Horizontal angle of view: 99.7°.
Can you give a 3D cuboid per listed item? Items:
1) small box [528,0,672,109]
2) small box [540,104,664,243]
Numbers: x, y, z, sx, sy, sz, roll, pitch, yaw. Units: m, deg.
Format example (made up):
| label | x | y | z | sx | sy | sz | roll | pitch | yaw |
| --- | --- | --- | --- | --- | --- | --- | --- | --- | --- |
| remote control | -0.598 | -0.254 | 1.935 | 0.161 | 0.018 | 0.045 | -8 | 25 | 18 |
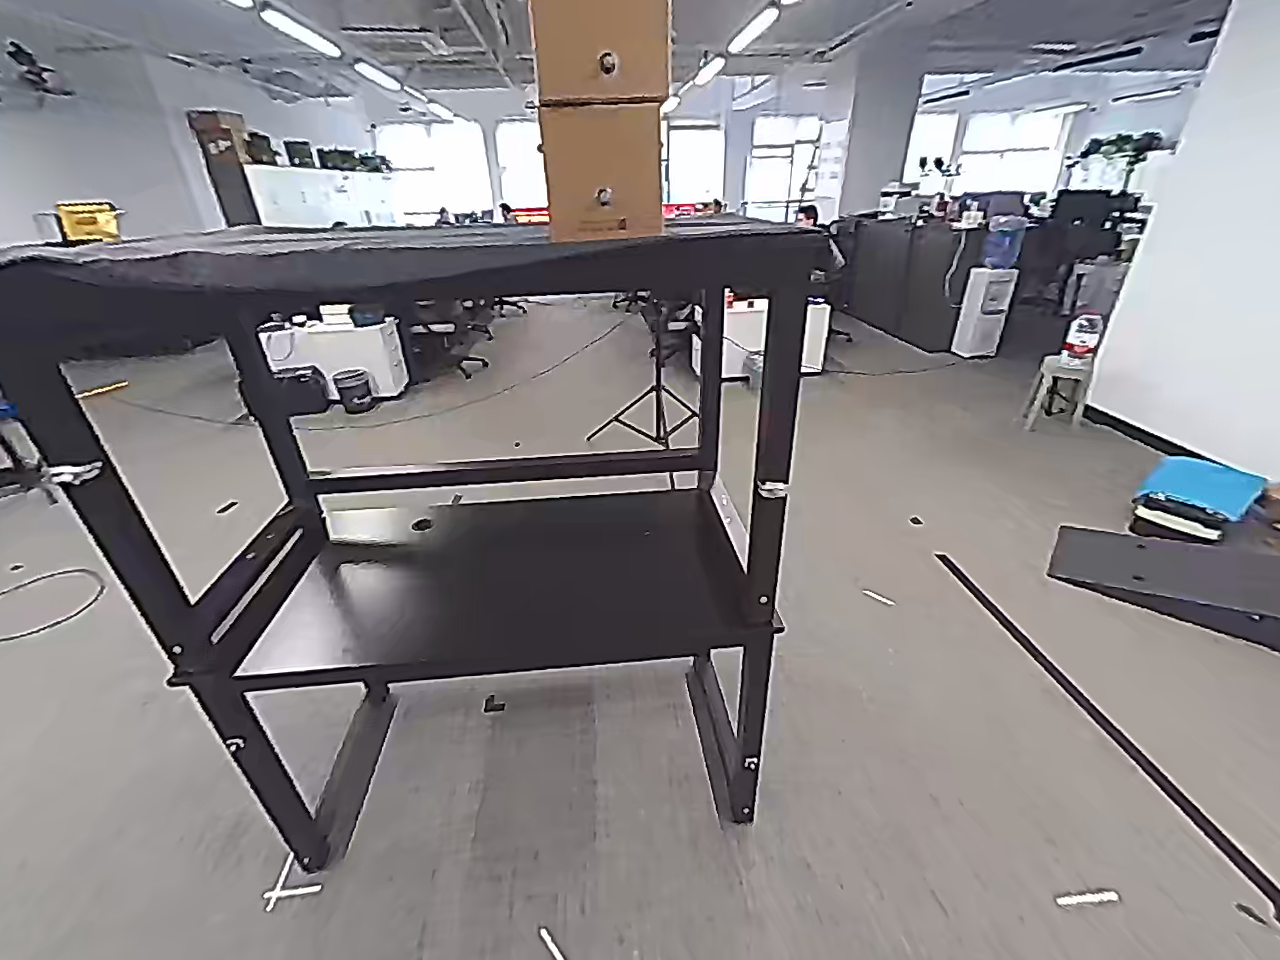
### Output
| label | x | y | z | sx | sy | sz | roll | pitch | yaw |
| --- | --- | --- | --- | --- | --- | --- | --- | --- | --- |
| small box | -0.057 | -0.601 | 0.735 | 0.179 | 0.176 | 0.168 | -5 | 27 | -7 |
| small box | -0.054 | -0.458 | 0.823 | 0.168 | 0.176 | 0.179 | -4 | 28 | -2 |
